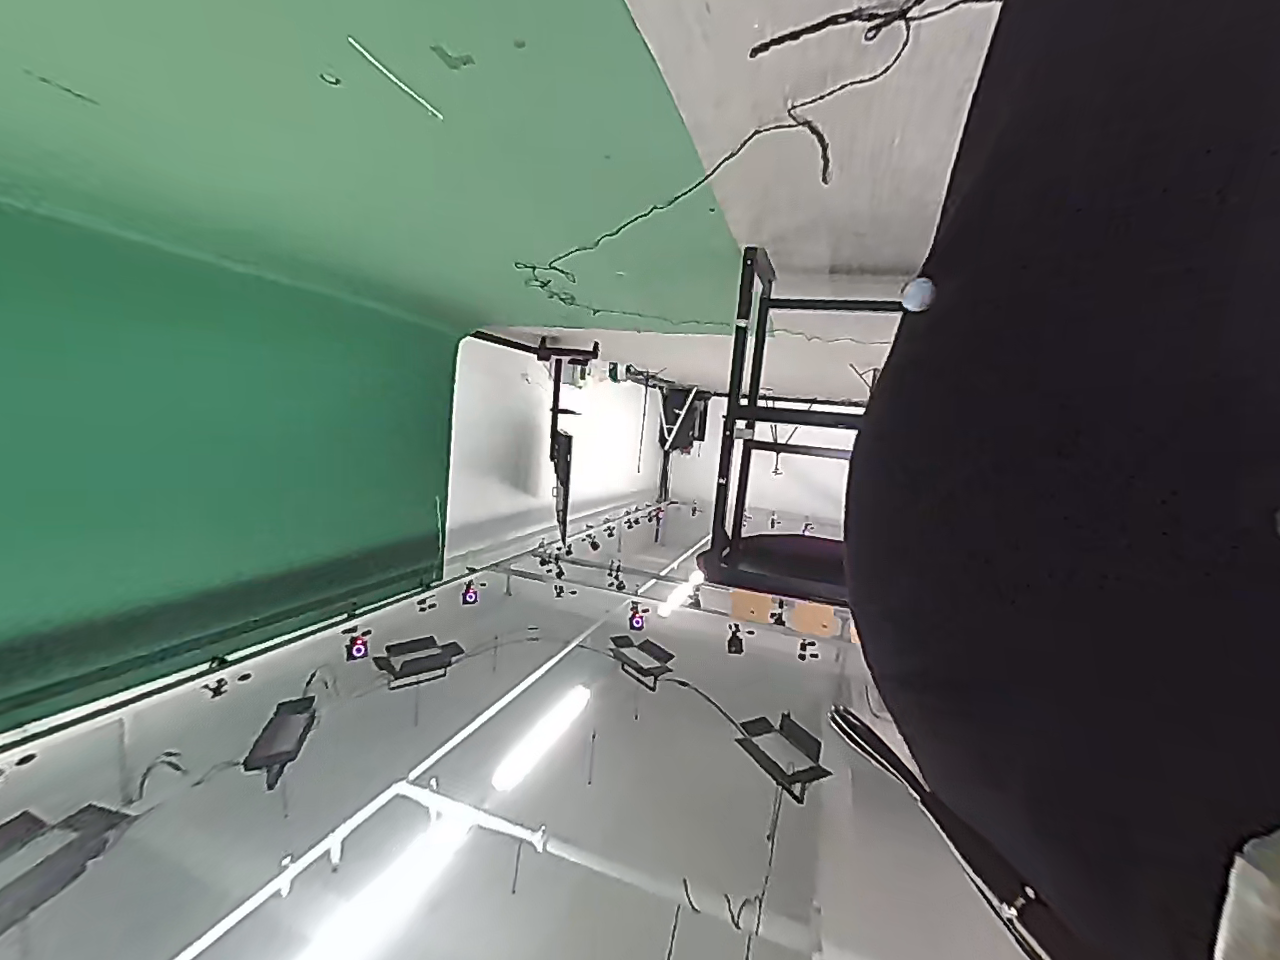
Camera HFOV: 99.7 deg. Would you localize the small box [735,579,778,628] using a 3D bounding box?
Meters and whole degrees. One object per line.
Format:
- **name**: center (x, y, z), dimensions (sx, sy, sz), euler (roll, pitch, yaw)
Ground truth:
- **small box**: center (0.542, 0.565, 2.495), dimensions (0.179, 0.176, 0.168), euler (7, -175, 16)
